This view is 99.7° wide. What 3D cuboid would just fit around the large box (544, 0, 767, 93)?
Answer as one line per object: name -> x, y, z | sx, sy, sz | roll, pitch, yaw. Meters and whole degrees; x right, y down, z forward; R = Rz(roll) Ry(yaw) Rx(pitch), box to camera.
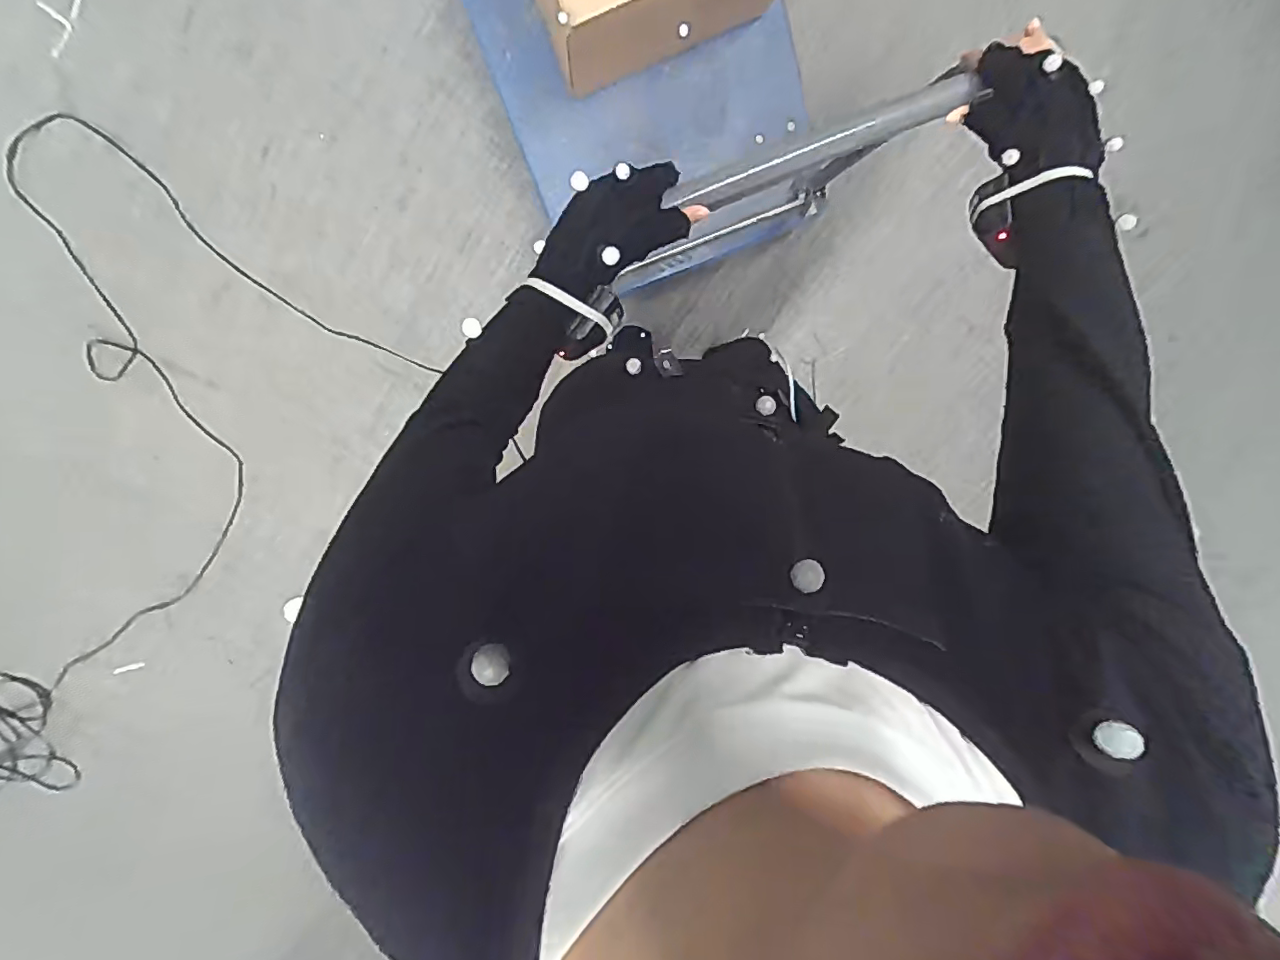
large box -> 0.019, -0.916, 0.865 | 0.408, 0.320, 0.320 | -23, 108, 3
